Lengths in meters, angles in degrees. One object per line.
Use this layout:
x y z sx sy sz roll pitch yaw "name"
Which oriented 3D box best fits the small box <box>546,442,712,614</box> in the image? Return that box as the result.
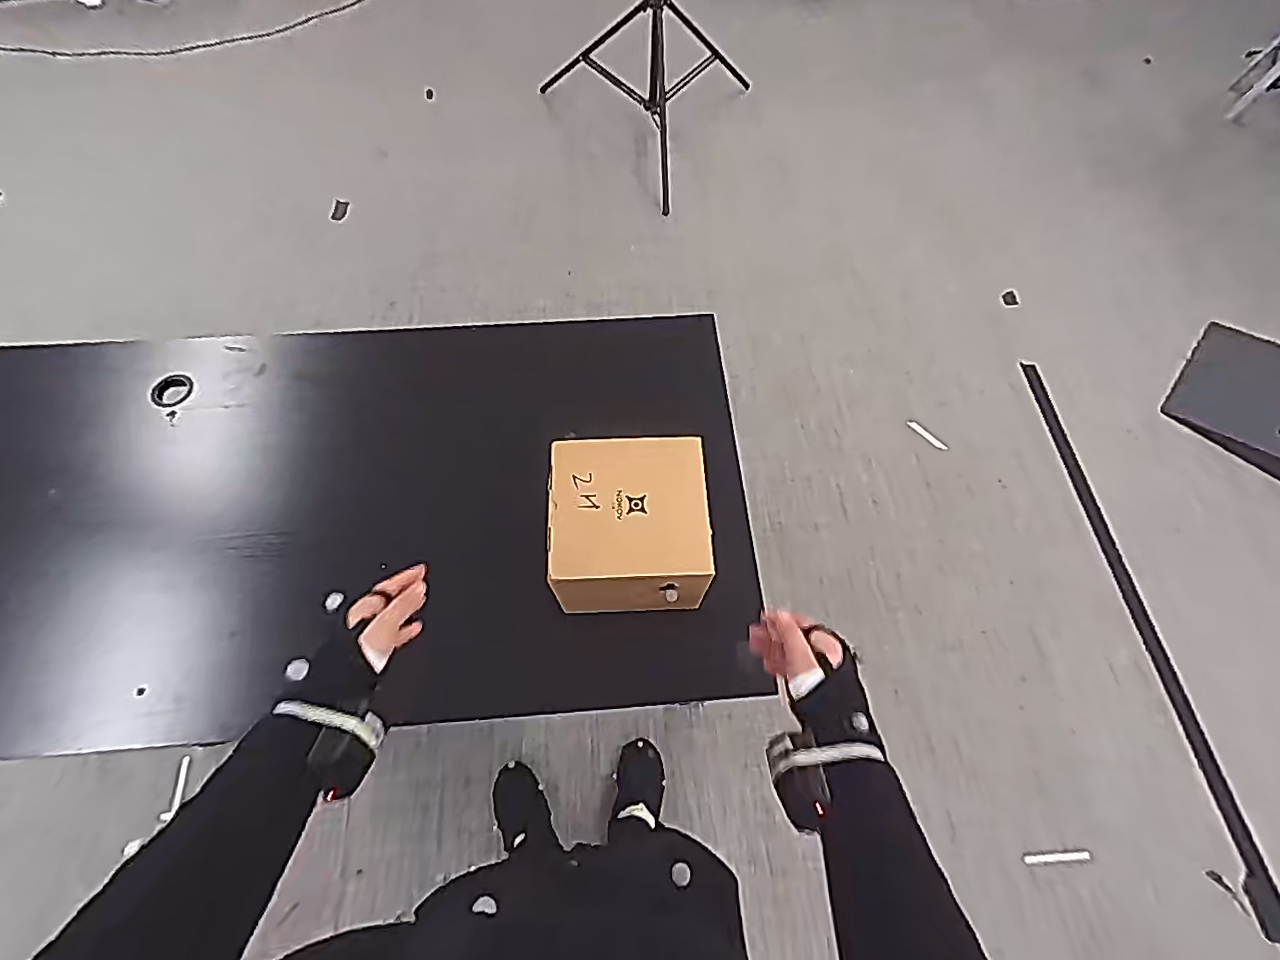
-0.016 0.065 0.666 0.179 0.176 0.168 -2 64 -2 "small box"
